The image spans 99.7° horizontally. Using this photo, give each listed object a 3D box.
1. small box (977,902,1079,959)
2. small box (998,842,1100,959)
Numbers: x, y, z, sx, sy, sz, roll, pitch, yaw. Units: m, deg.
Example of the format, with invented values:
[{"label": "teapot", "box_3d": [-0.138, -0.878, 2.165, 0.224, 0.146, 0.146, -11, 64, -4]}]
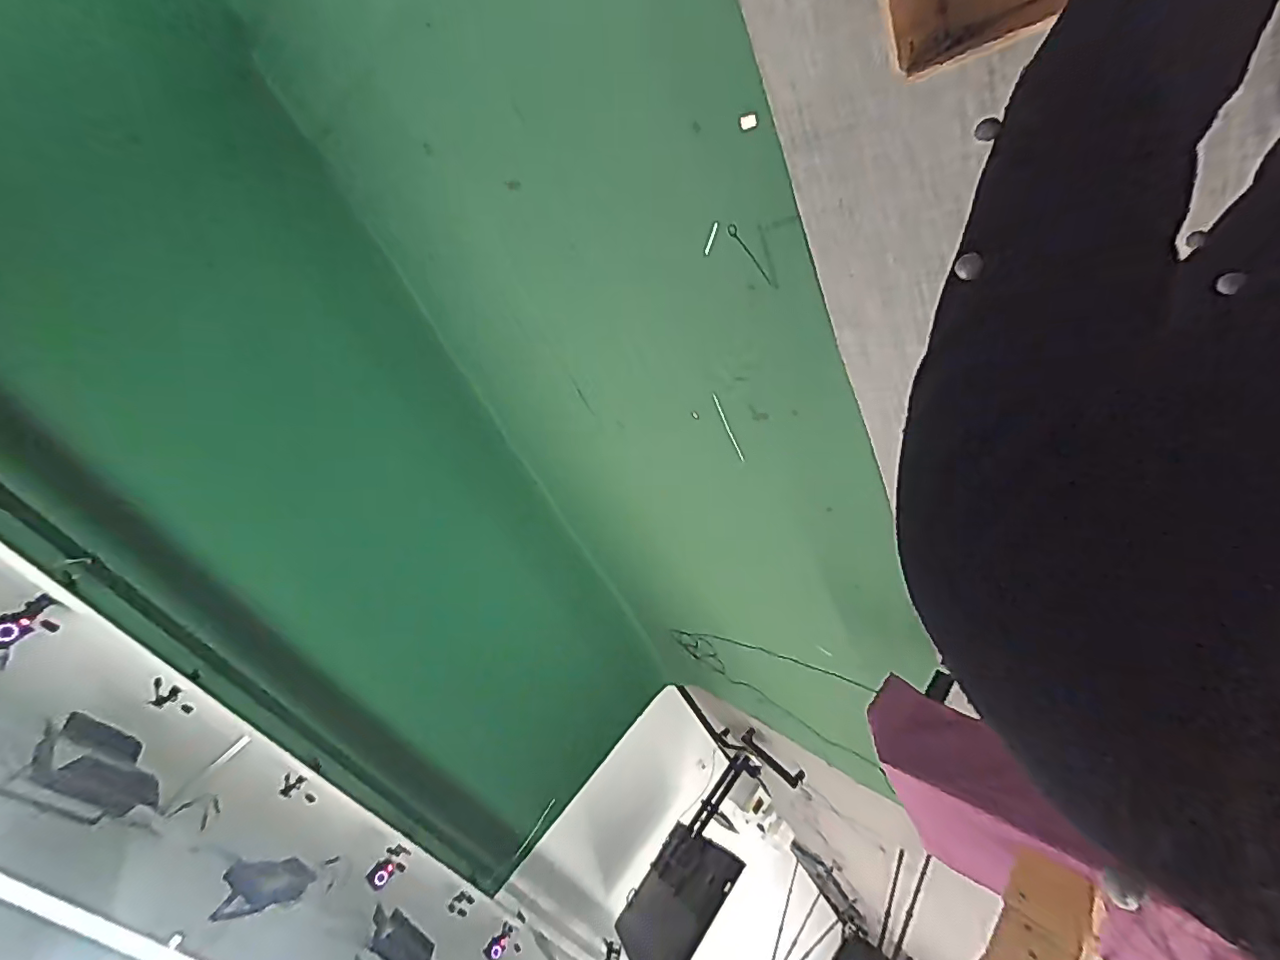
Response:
[{"label": "small box", "box_3d": [0.972, 1.215, 1.353, 0.168, 0.176, 0.179, 13, 140, 51]}, {"label": "small box", "box_3d": [1.078, 1.107, 1.419, 0.179, 0.176, 0.168, 11, 138, 52]}]
